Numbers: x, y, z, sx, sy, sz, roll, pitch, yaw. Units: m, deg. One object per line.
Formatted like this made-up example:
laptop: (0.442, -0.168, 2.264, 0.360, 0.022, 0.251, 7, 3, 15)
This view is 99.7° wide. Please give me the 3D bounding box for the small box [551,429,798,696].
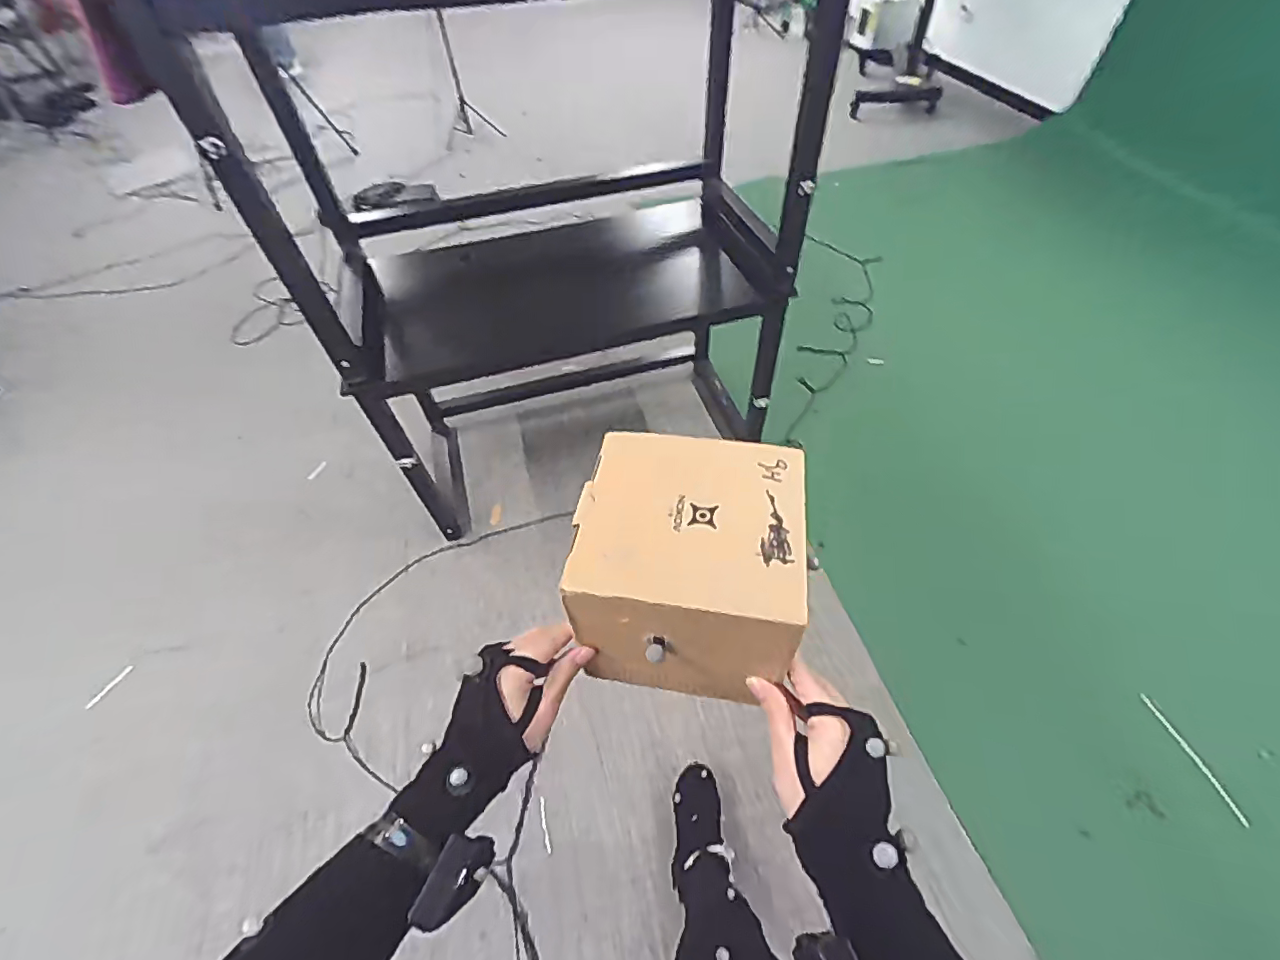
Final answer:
small box: (0.040, 0.074, 0.481, 0.179, 0.176, 0.168, 5, 50, 10)
